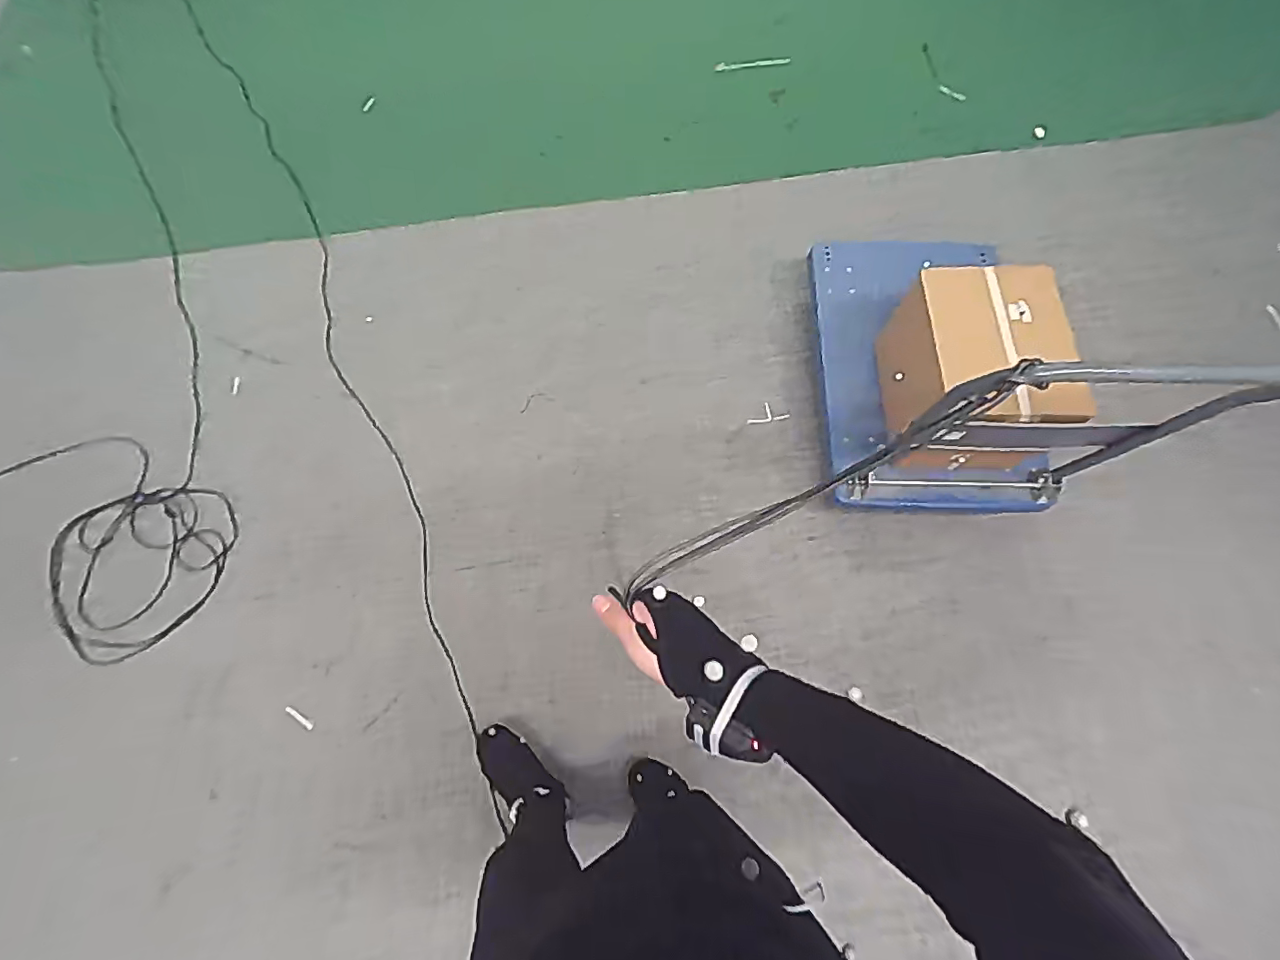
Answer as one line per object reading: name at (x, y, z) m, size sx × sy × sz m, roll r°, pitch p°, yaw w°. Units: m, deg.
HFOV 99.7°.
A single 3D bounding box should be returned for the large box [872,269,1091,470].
large box at (0.820, -0.265, 1.370) m, size 0.320 × 0.320 × 0.408 m, roll 0°, pitch 68°, yaw 1°
